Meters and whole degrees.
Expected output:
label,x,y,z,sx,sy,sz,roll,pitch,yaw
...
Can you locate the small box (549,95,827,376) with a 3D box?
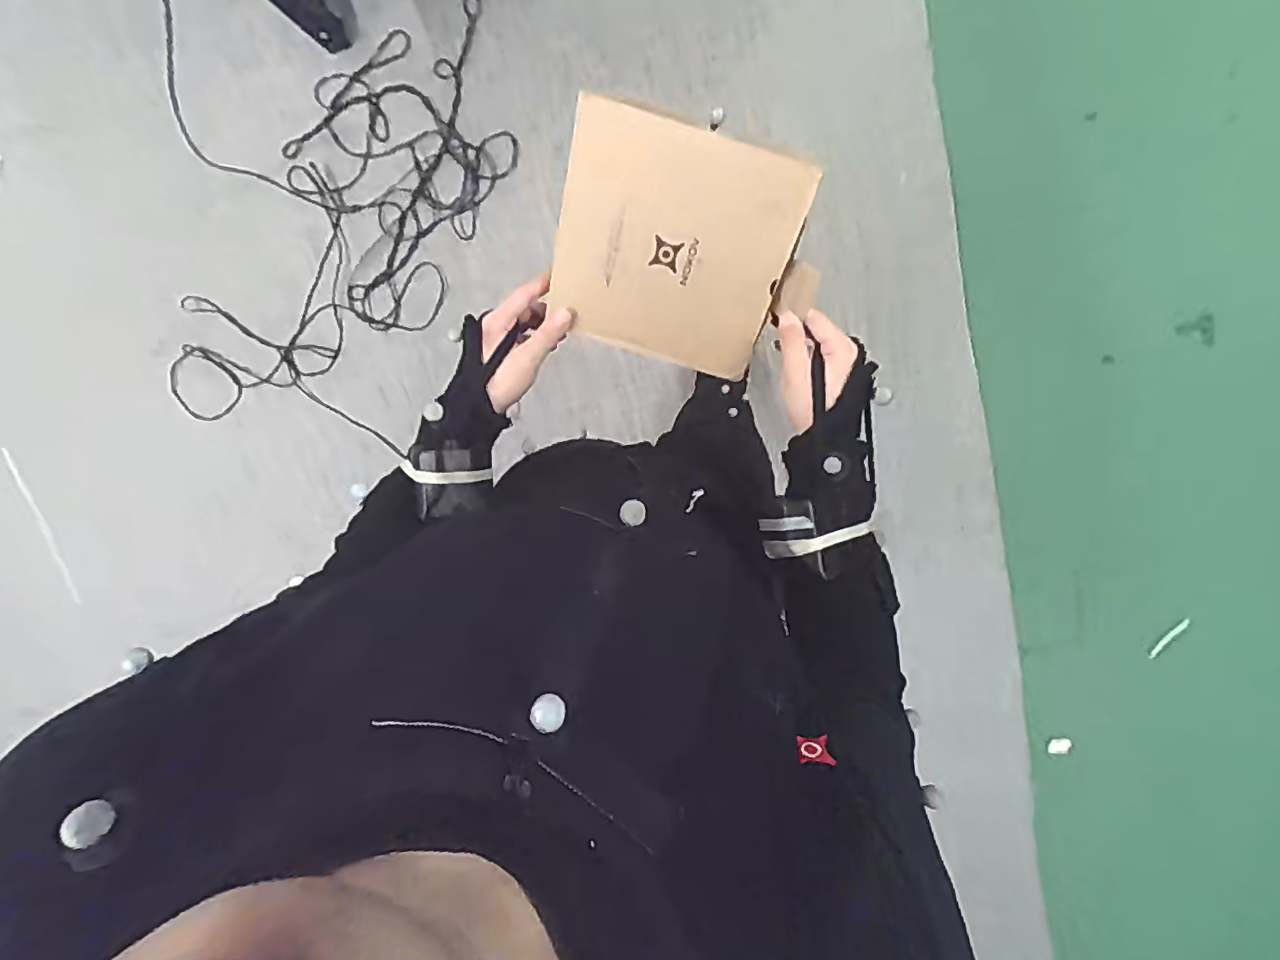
label,x,y,z,sx,sy,sz,roll,pitch,yaw
small box,0.036,-0.216,0.470,0.179,0.176,0.168,15,125,-1
